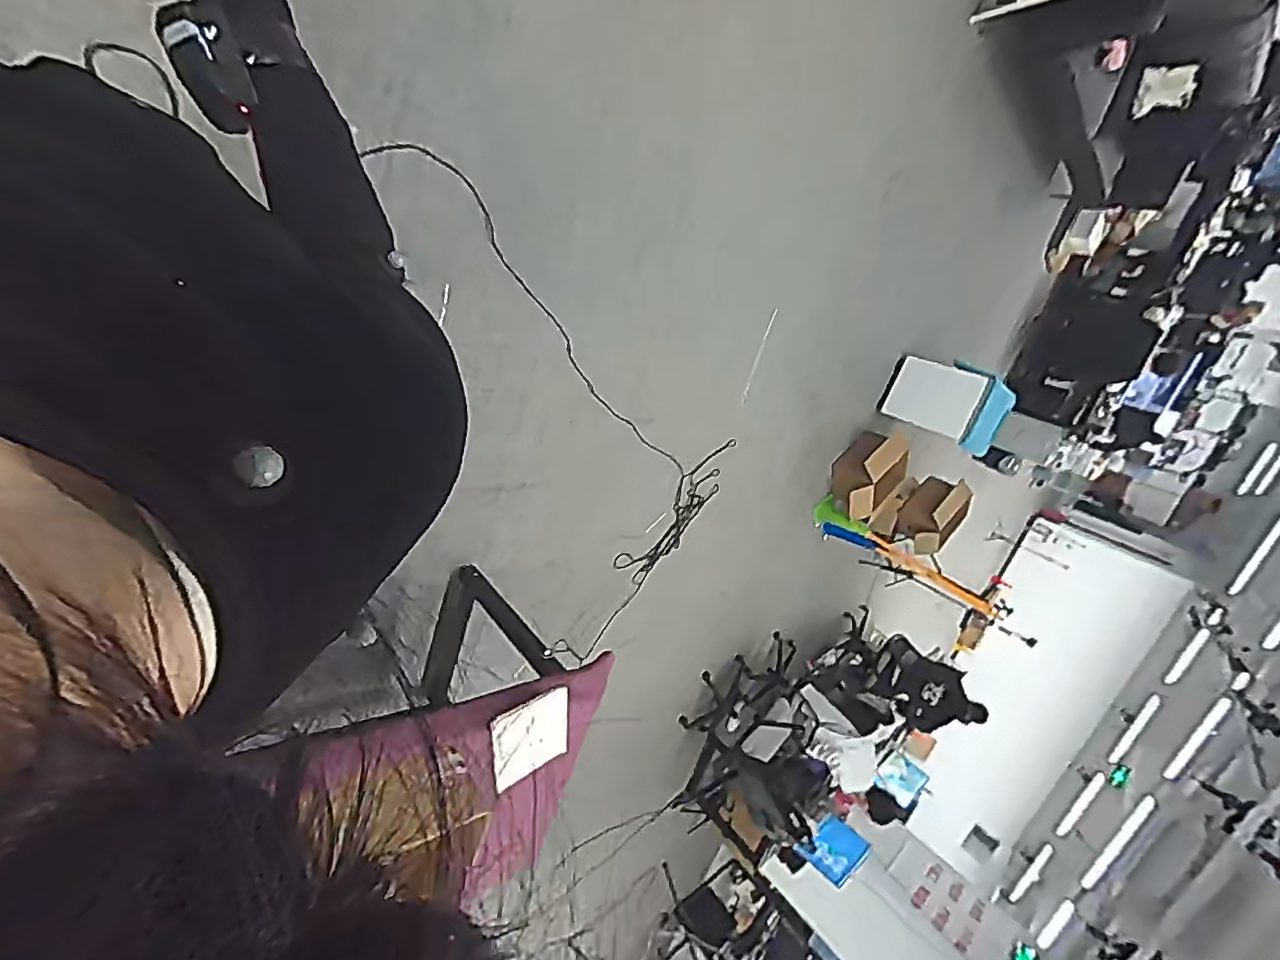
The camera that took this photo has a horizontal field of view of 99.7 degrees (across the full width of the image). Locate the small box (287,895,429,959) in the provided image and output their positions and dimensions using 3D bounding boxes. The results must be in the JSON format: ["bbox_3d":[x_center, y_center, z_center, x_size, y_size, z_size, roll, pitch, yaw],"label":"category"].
[{"bbox_3d":[-0.432,0.798,0.827,0.179,0.176,0.168,4,113,-48],"label":"small box"}]
